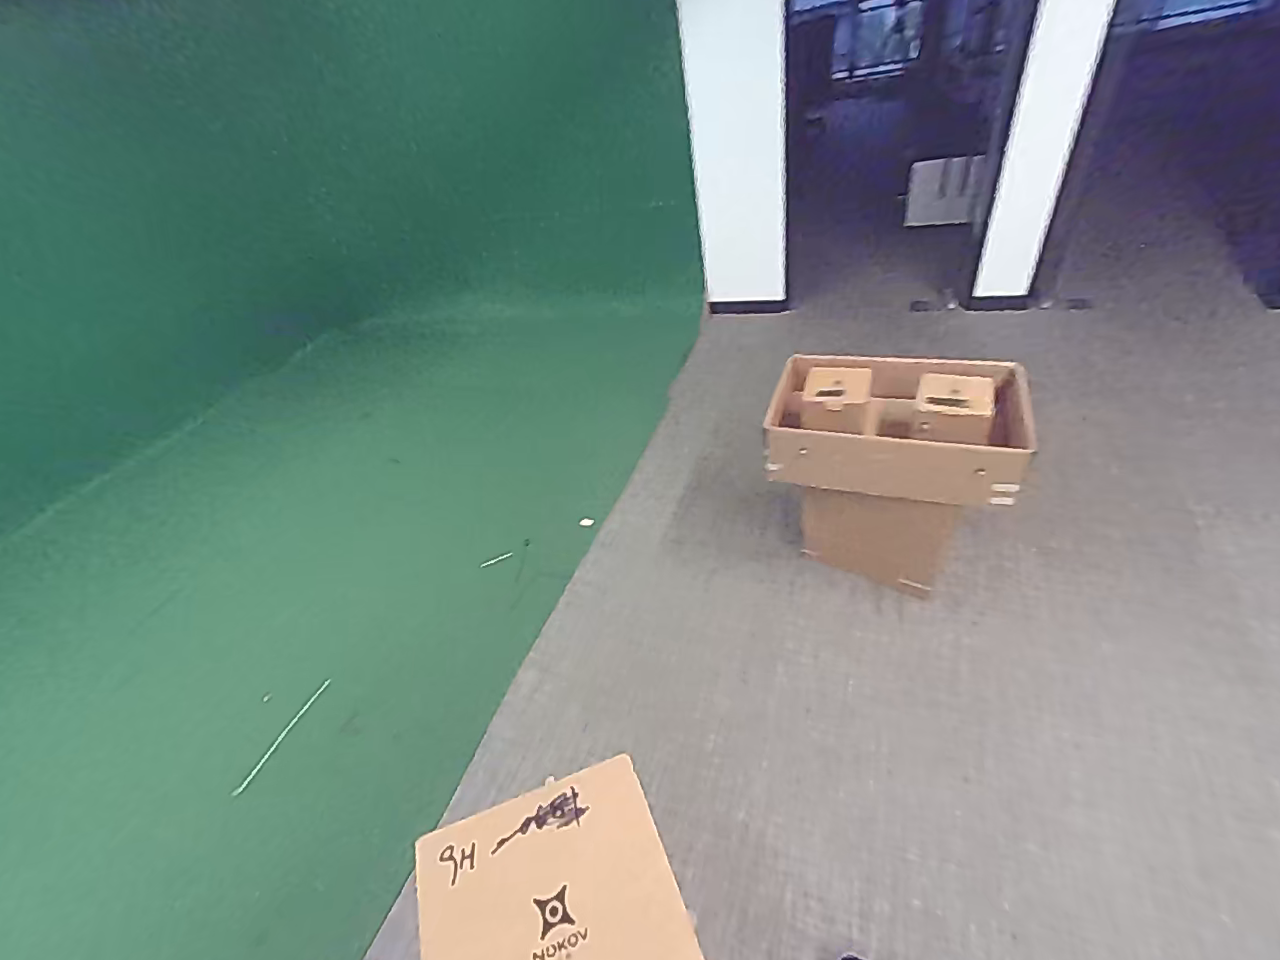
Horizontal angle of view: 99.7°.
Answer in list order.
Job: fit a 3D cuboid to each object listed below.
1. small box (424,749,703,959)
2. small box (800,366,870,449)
[{"bbox_3d":[-0.050,0.346,0.405,0.168,0.176,0.179,-15,42,-14],"label":"small box"},{"bbox_3d":[0.554,-0.205,1.533,0.168,0.176,0.179,6,44,22],"label":"small box"}]
